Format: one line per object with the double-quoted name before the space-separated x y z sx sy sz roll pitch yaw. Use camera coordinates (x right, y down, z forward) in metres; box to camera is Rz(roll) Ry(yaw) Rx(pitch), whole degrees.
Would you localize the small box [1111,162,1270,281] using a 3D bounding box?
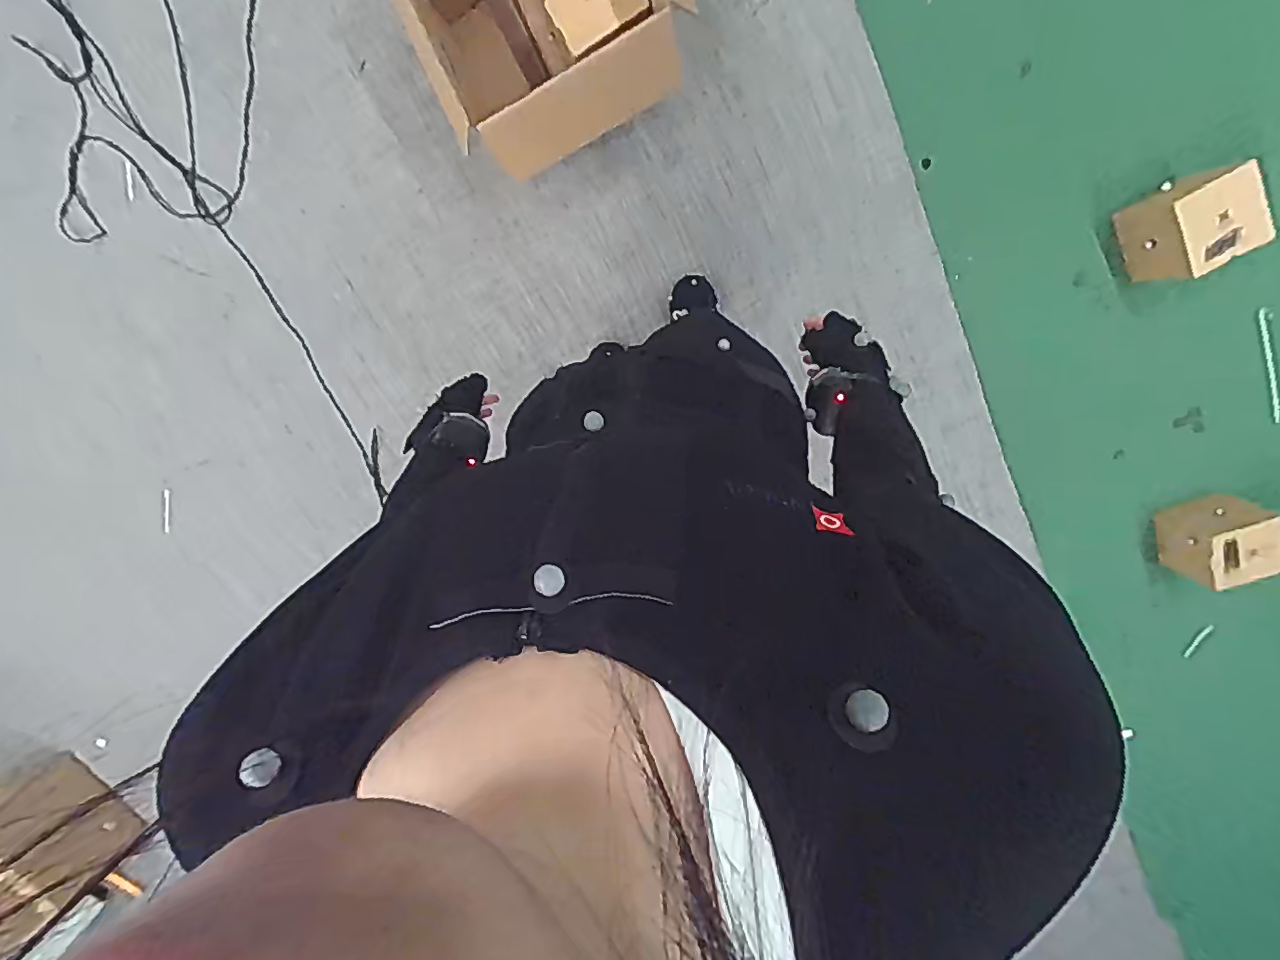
"small box" 1.215 -0.564 1.205 0.168 0.176 0.179 -29 104 10
